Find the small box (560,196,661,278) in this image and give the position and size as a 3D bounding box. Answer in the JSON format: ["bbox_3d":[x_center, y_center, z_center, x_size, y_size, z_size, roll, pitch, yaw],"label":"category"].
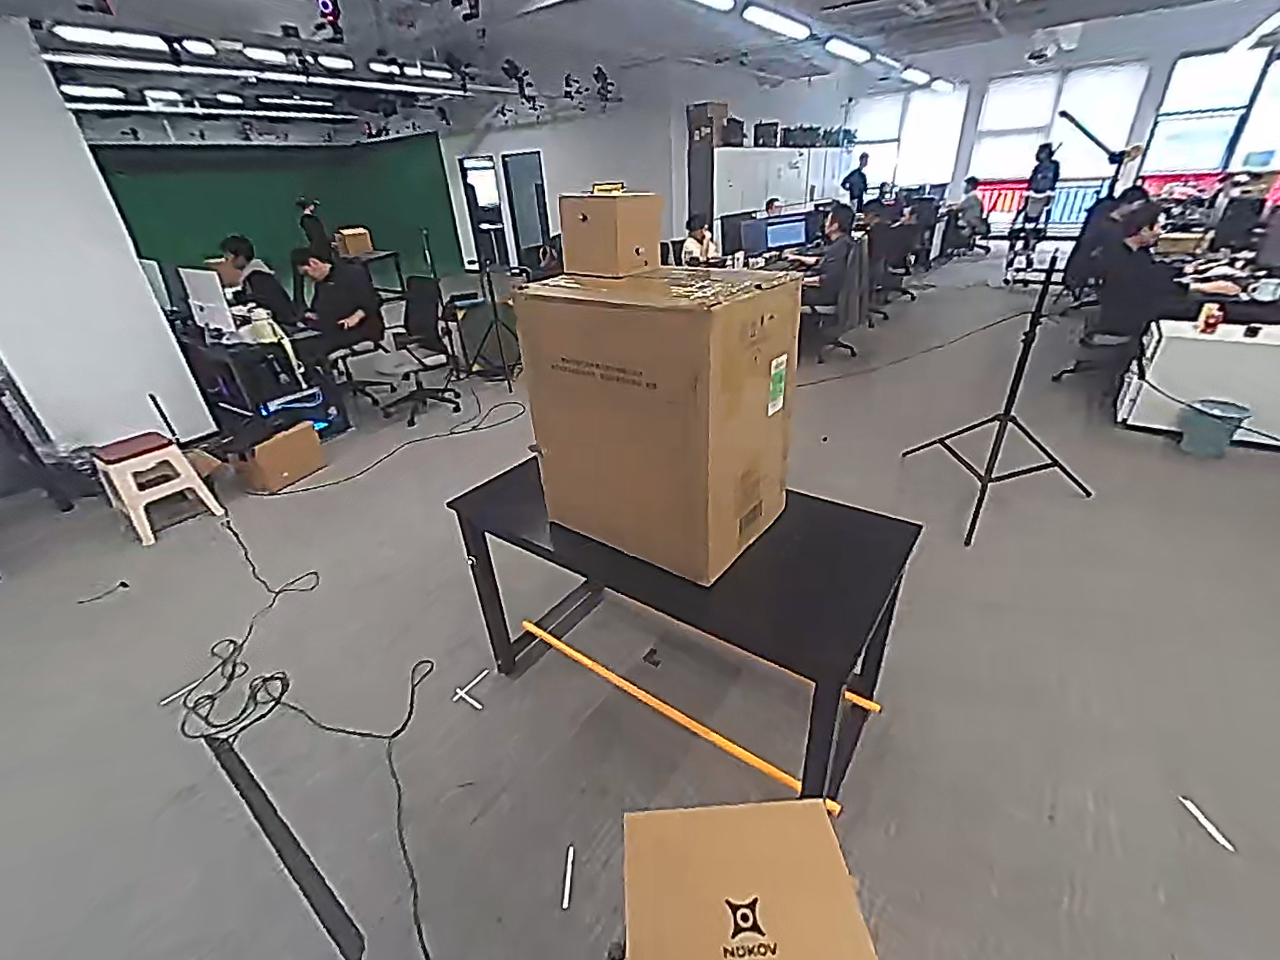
[{"bbox_3d":[-0.067,-0.579,1.284,0.179,0.176,0.168,20,35,33],"label":"small box"}]

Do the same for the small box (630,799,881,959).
[{"bbox_3d":[0.078,0.376,0.403,0.168,0.176,0.179,-4,28,0],"label":"small box"}]
